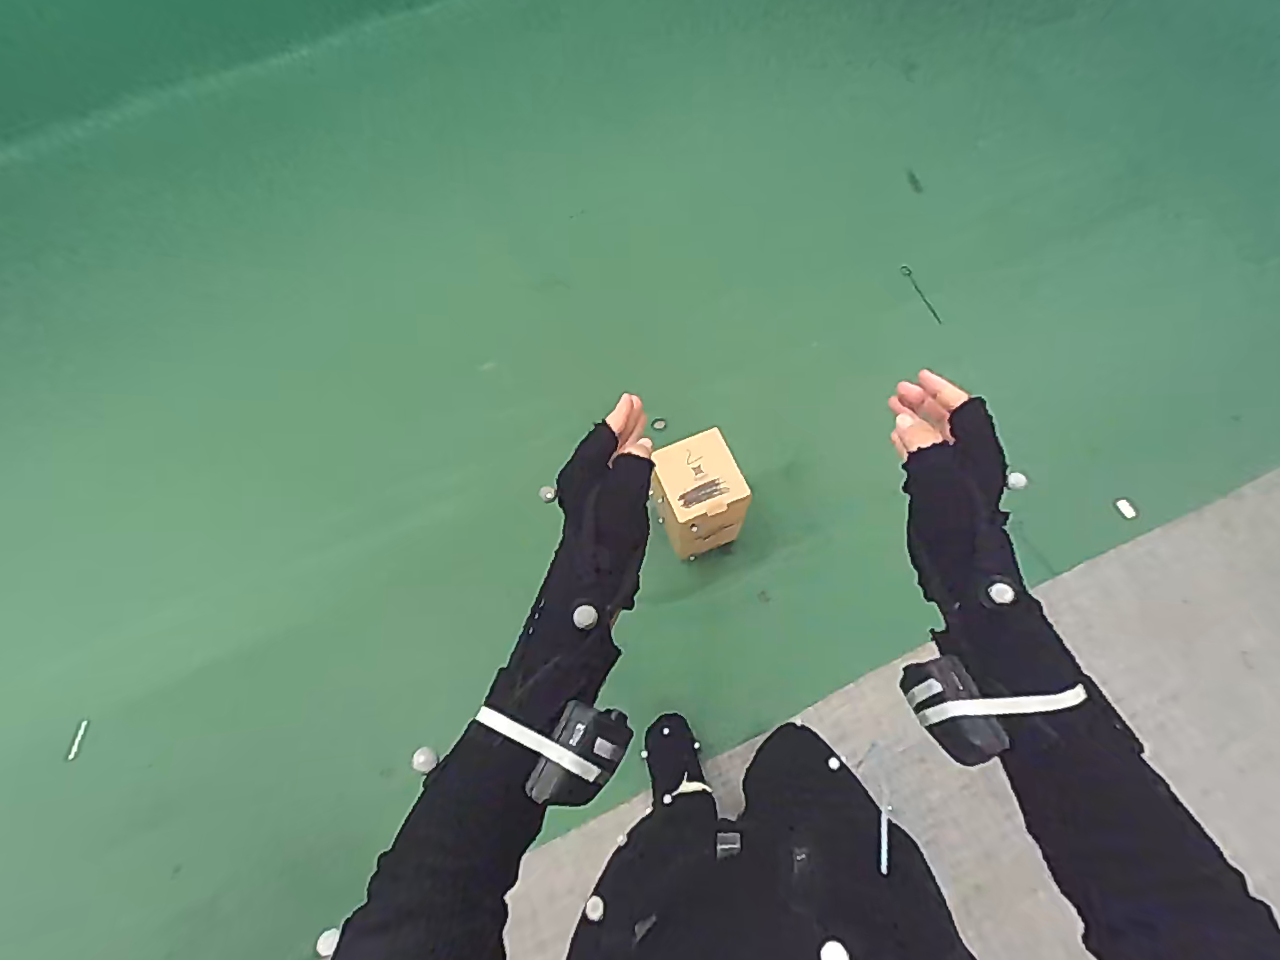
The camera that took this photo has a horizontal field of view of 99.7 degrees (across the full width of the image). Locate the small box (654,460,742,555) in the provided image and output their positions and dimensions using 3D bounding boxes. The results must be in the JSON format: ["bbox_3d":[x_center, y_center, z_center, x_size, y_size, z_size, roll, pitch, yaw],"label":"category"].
[{"bbox_3d":[0.145,0.079,1.378,0.168,0.176,0.179,-22,68,-5],"label":"small box"}]
